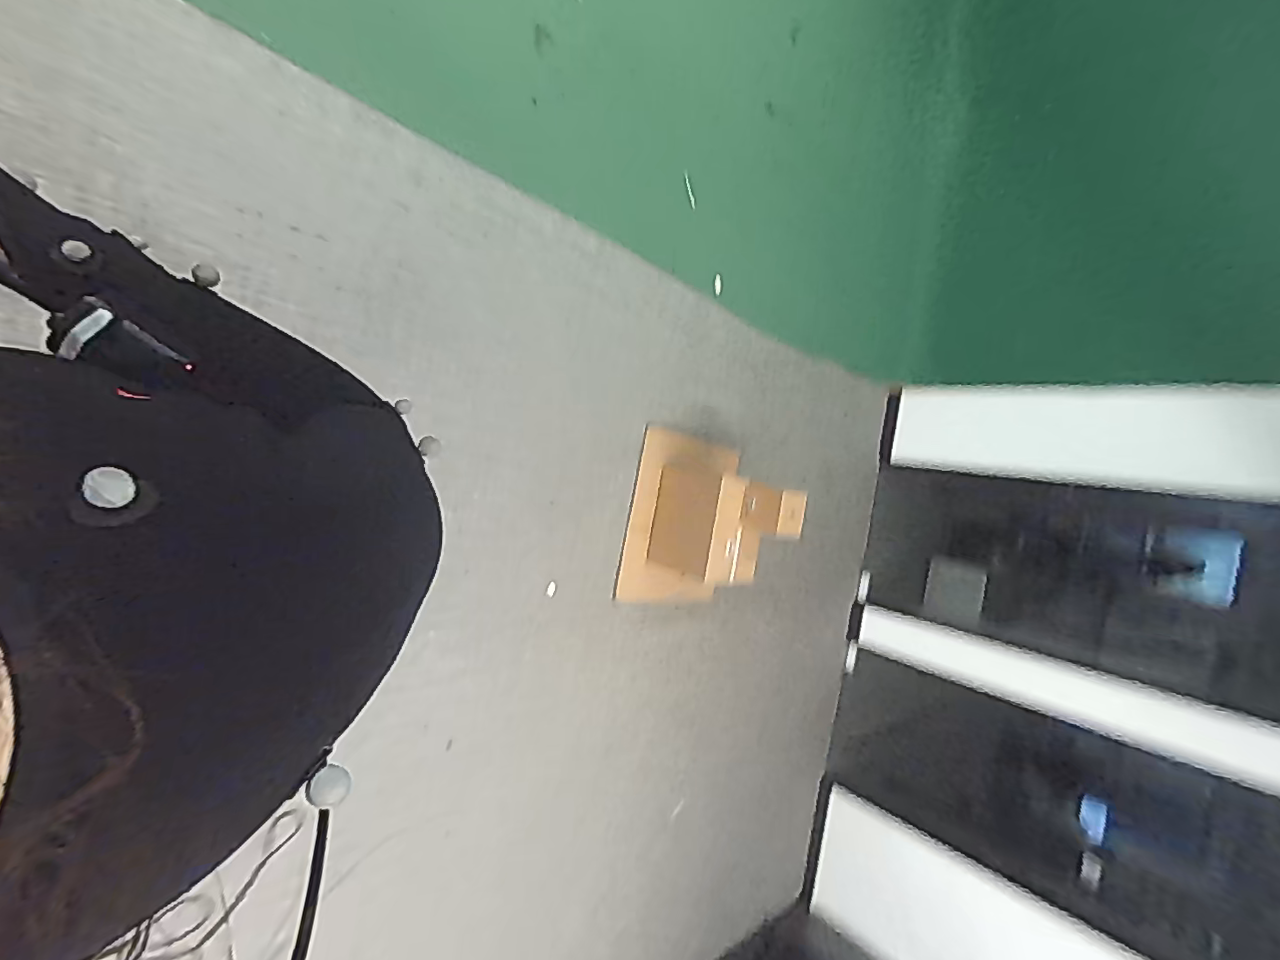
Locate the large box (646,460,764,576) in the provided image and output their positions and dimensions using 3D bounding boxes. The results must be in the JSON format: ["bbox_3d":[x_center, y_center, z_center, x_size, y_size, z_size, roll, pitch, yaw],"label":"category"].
[{"bbox_3d":[0.256,0.147,2.172,0.320,0.320,0.408,8,93,-44],"label":"large box"}]

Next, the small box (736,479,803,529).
[{"bbox_3d":[0.489,0.089,2.045,0.179,0.176,0.168,5,93,-45],"label":"small box"}]
